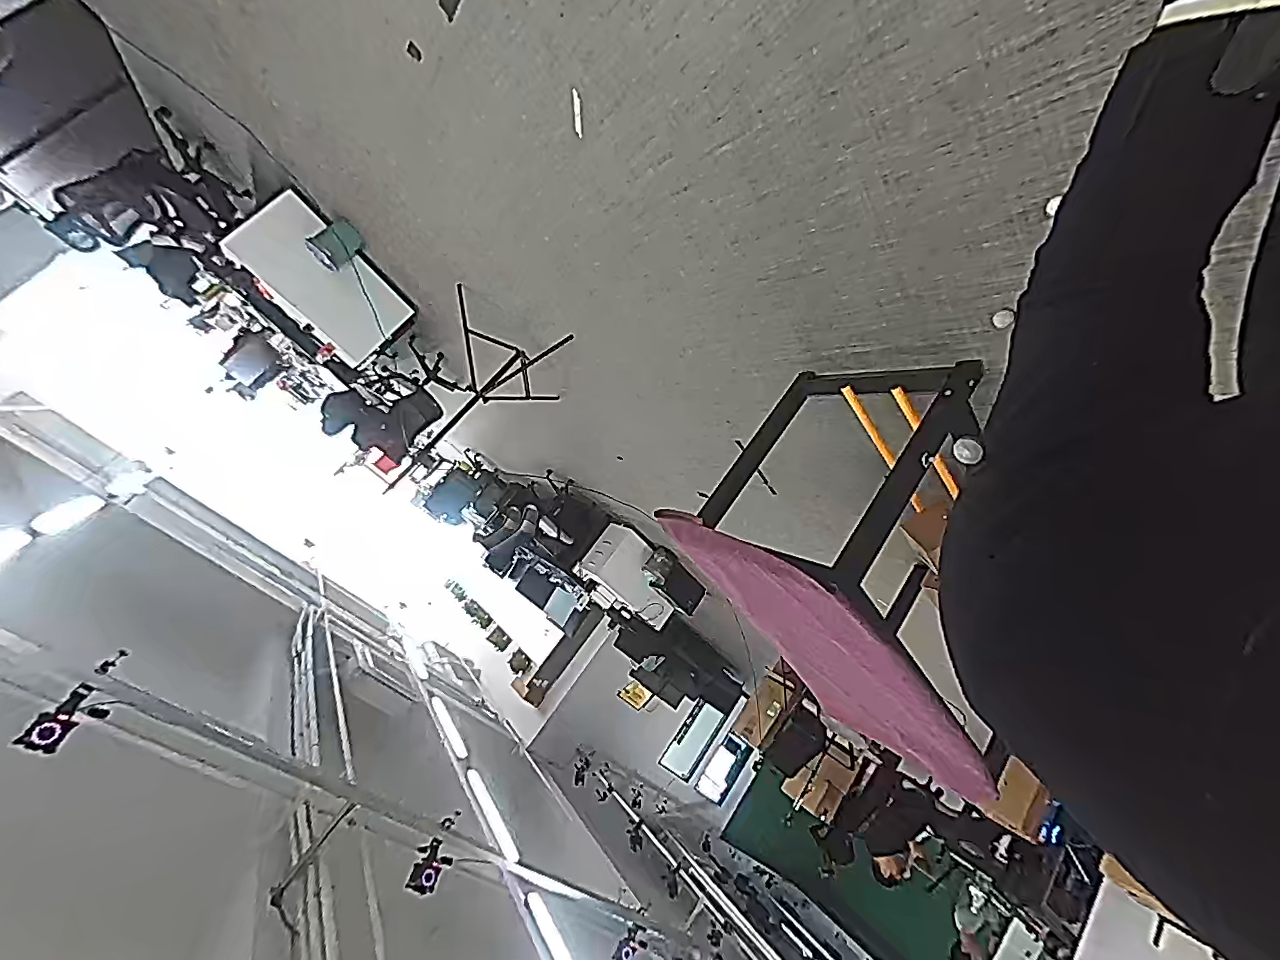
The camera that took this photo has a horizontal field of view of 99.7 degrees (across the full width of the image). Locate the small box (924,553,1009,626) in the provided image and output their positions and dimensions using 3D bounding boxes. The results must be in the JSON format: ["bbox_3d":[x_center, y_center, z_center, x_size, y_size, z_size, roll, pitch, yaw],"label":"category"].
[{"bbox_3d":[1.133,0.373,1.875,0.168,0.176,0.179,46,160,-26],"label":"small box"}]
